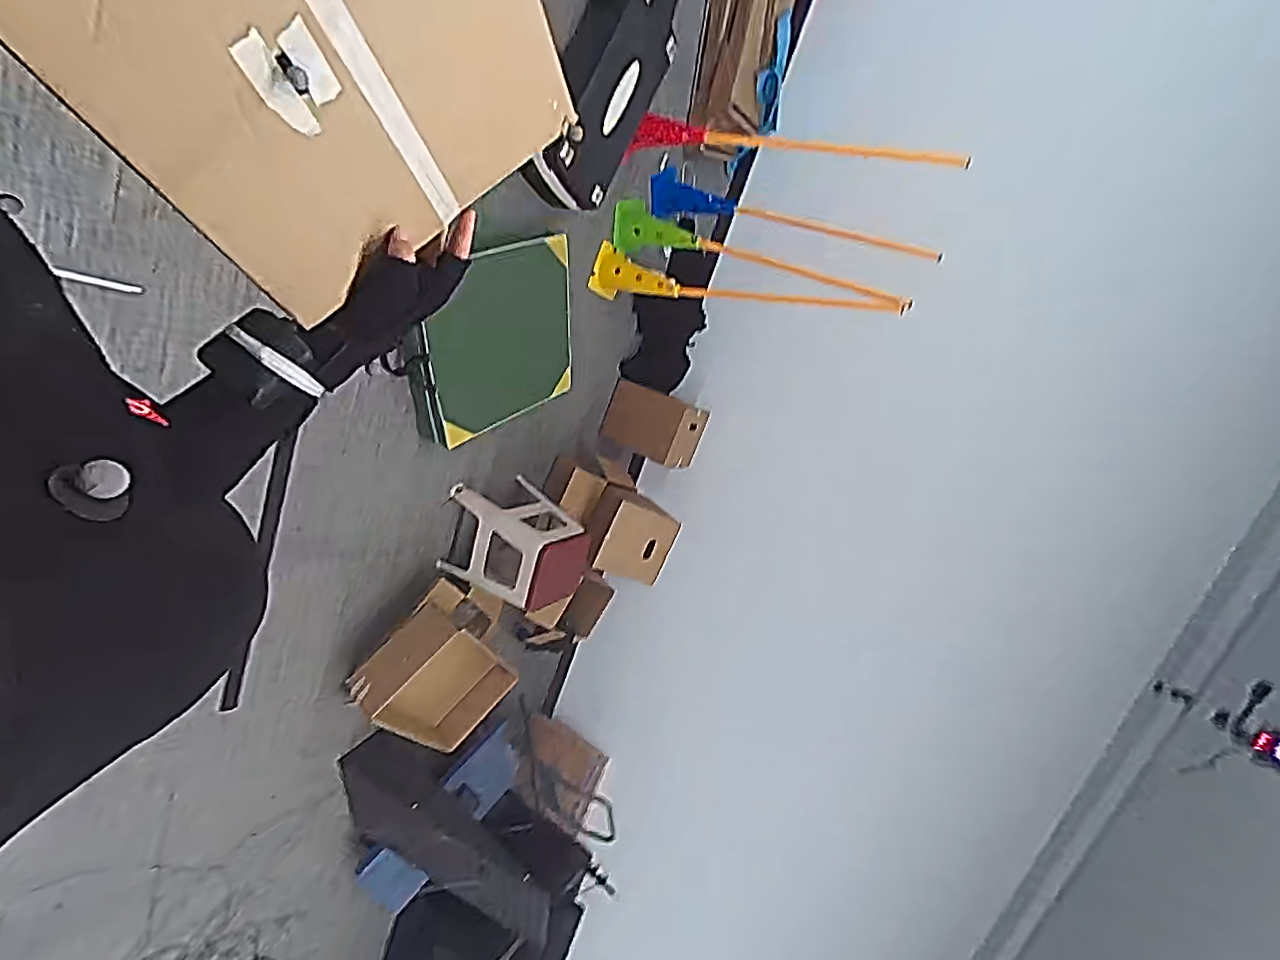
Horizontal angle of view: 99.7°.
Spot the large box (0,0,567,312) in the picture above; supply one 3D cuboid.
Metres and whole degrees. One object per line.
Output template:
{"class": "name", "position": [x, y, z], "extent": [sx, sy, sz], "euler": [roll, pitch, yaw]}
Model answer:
{"class": "large box", "position": [-0.322, -0.415, 0.386], "extent": [0.320, 0.320, 0.408], "euler": [-45, 150, -11]}
